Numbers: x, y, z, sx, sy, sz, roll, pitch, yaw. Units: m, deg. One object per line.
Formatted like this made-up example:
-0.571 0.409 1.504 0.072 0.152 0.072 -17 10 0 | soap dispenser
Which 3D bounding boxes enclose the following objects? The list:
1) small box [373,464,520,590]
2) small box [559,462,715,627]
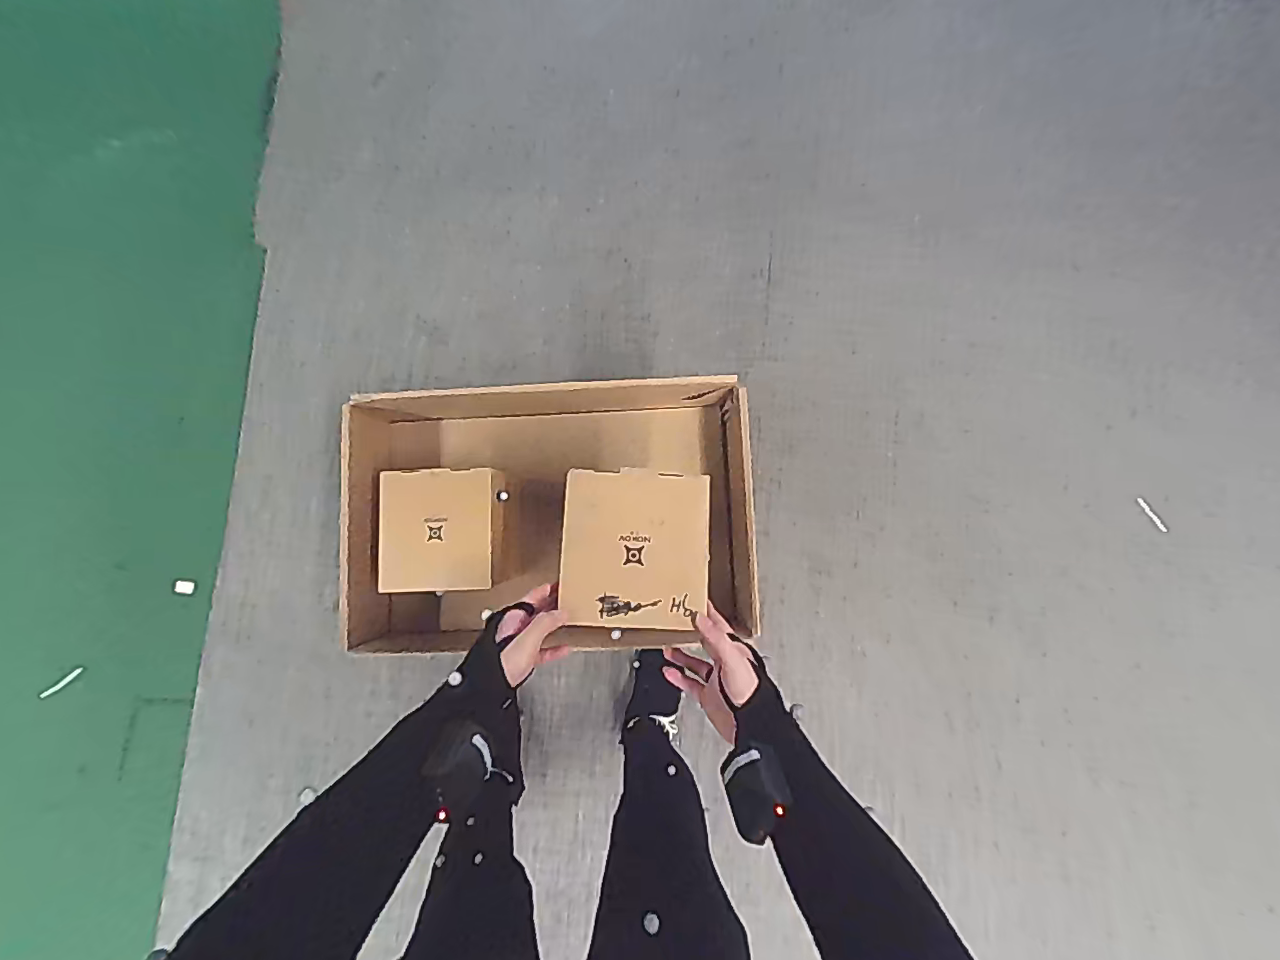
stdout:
-0.288 0.073 0.839 0.168 0.176 0.179 -2 83 3 | small box
-0.002 0.085 0.675 0.168 0.176 0.179 3 79 1 | small box
